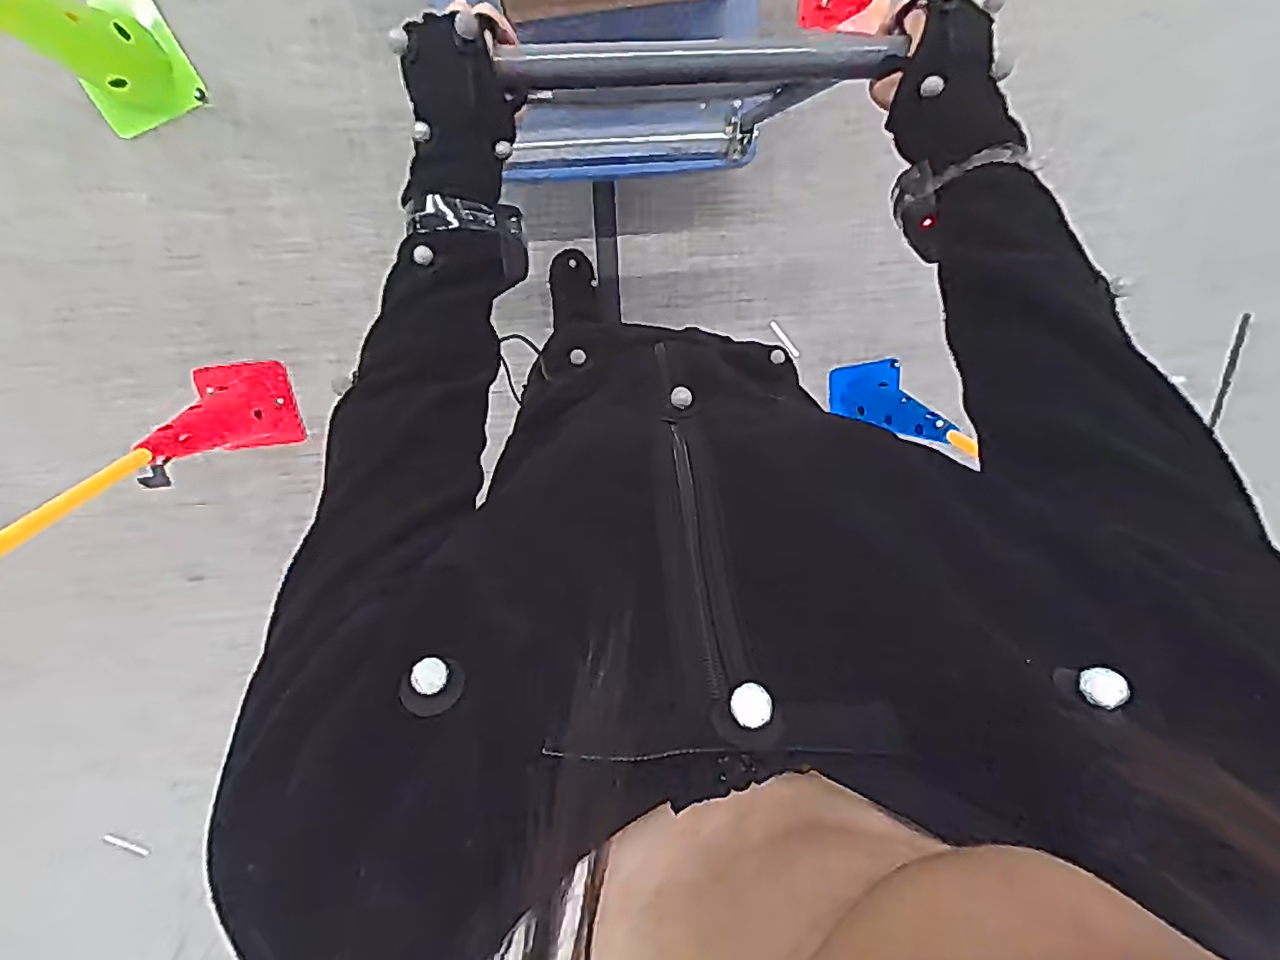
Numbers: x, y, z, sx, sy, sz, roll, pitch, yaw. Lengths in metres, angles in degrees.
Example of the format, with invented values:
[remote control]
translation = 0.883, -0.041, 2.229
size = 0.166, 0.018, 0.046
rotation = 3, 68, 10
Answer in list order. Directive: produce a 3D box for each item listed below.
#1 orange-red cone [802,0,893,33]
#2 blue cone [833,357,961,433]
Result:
[orange-red cone]
translation = 0.467, -0.991, 0.958
size = 0.199, 0.360, 0.198
rotation = 0, 112, -10
[blue cone]
translation = 0.639, -0.172, 1.319
size = 0.193, 0.380, 0.192
rotation = -10, 111, -5
